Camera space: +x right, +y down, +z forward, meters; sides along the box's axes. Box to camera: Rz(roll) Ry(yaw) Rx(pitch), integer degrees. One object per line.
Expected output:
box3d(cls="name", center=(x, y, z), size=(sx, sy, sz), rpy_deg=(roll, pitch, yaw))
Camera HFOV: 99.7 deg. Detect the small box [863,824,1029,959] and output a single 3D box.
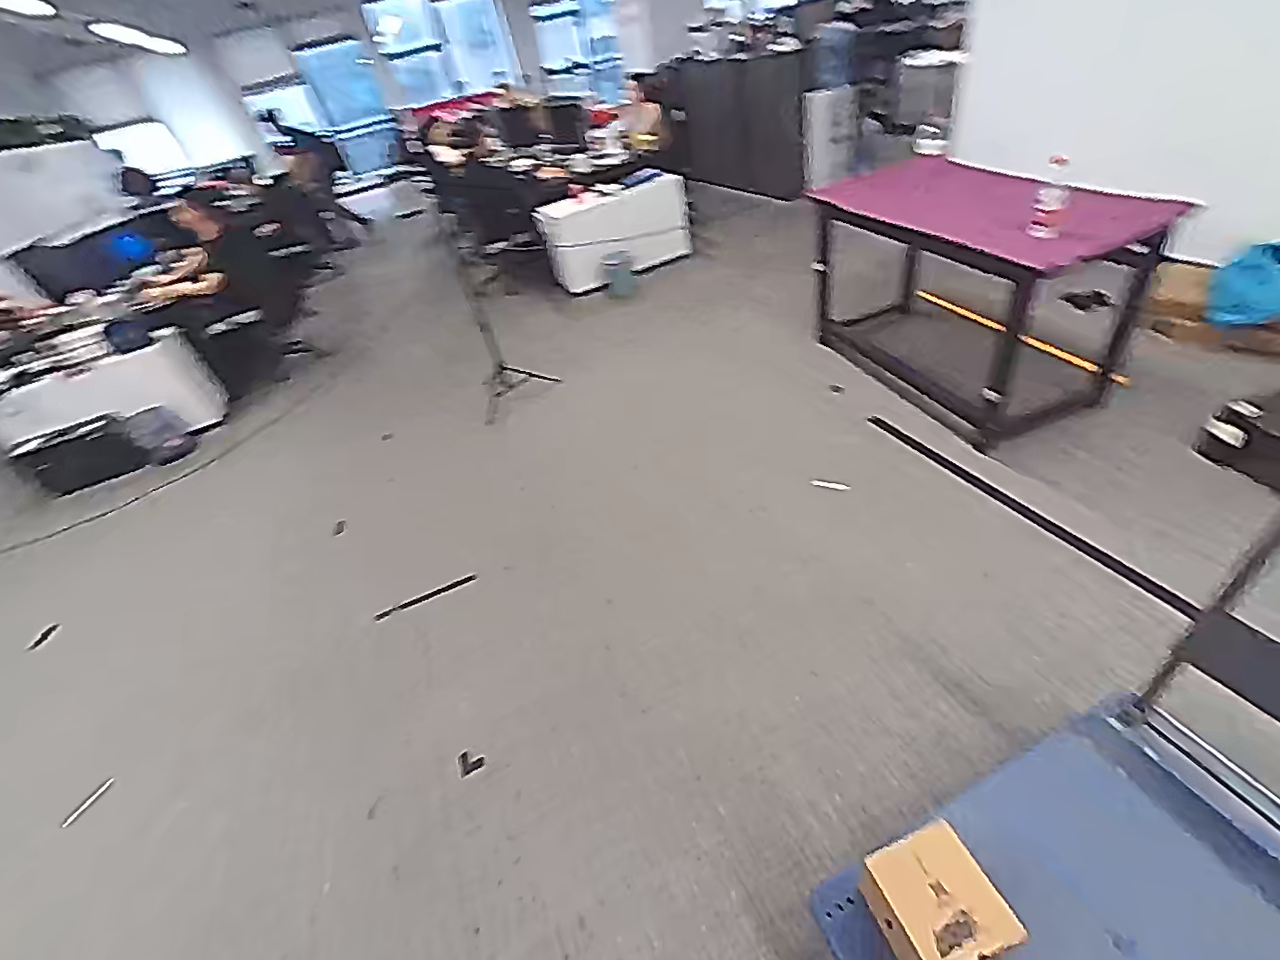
box3d(cls="small box", center=(0.507, 0.738, 0.924), size=(0.168, 0.176, 0.179), rpy_deg=(-20, 39, -8))
